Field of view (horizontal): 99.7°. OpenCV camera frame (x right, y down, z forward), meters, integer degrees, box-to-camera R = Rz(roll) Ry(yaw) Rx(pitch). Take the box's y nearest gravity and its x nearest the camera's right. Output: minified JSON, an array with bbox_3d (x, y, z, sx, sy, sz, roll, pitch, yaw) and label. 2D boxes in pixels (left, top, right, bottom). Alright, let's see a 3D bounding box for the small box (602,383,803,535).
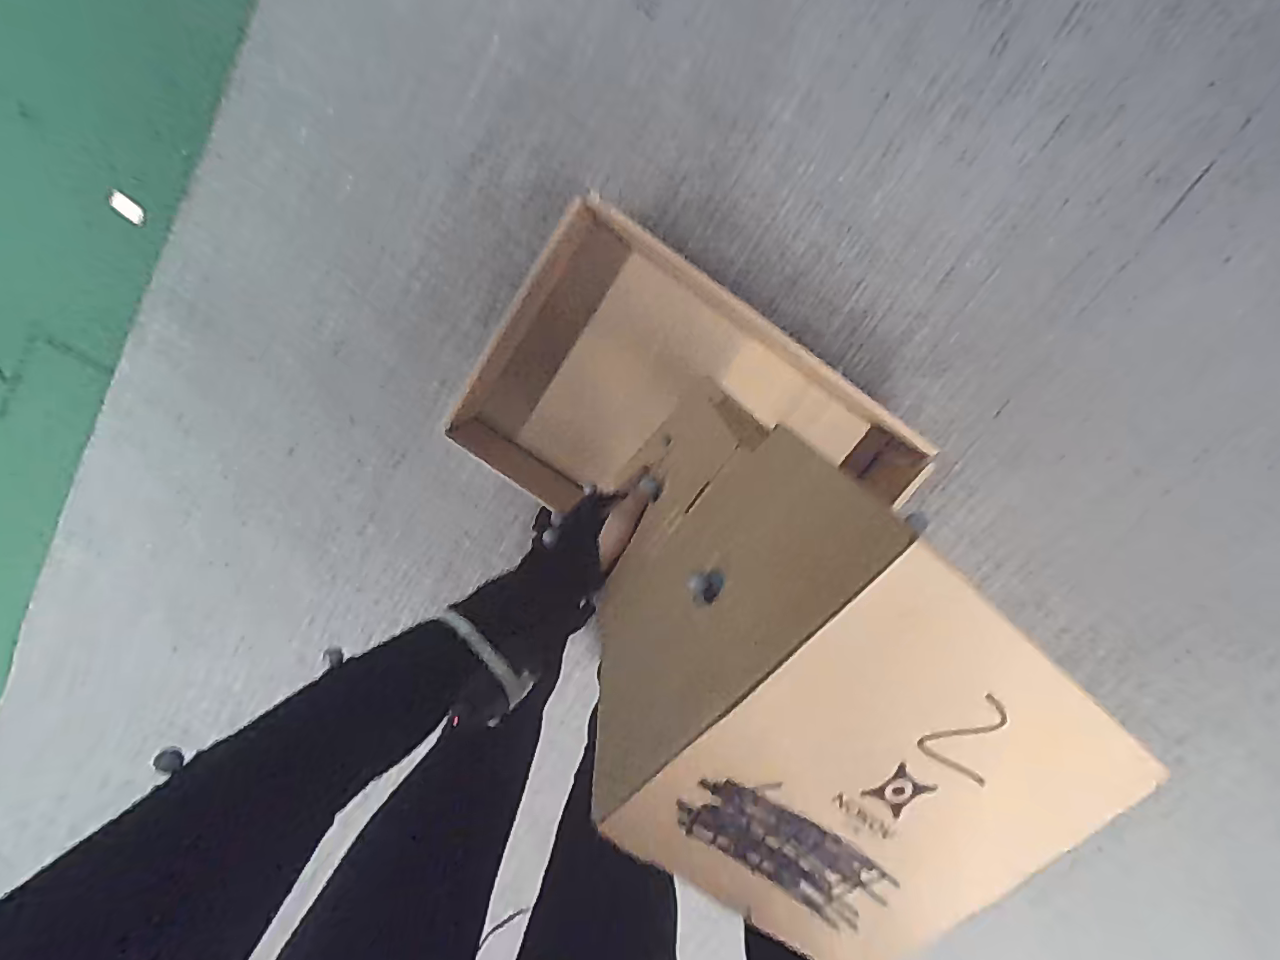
[{"bbox_3d":[0.076,0.013,0.603,0.168,0.176,0.179,40,105,-12],"label":"small box"}]
